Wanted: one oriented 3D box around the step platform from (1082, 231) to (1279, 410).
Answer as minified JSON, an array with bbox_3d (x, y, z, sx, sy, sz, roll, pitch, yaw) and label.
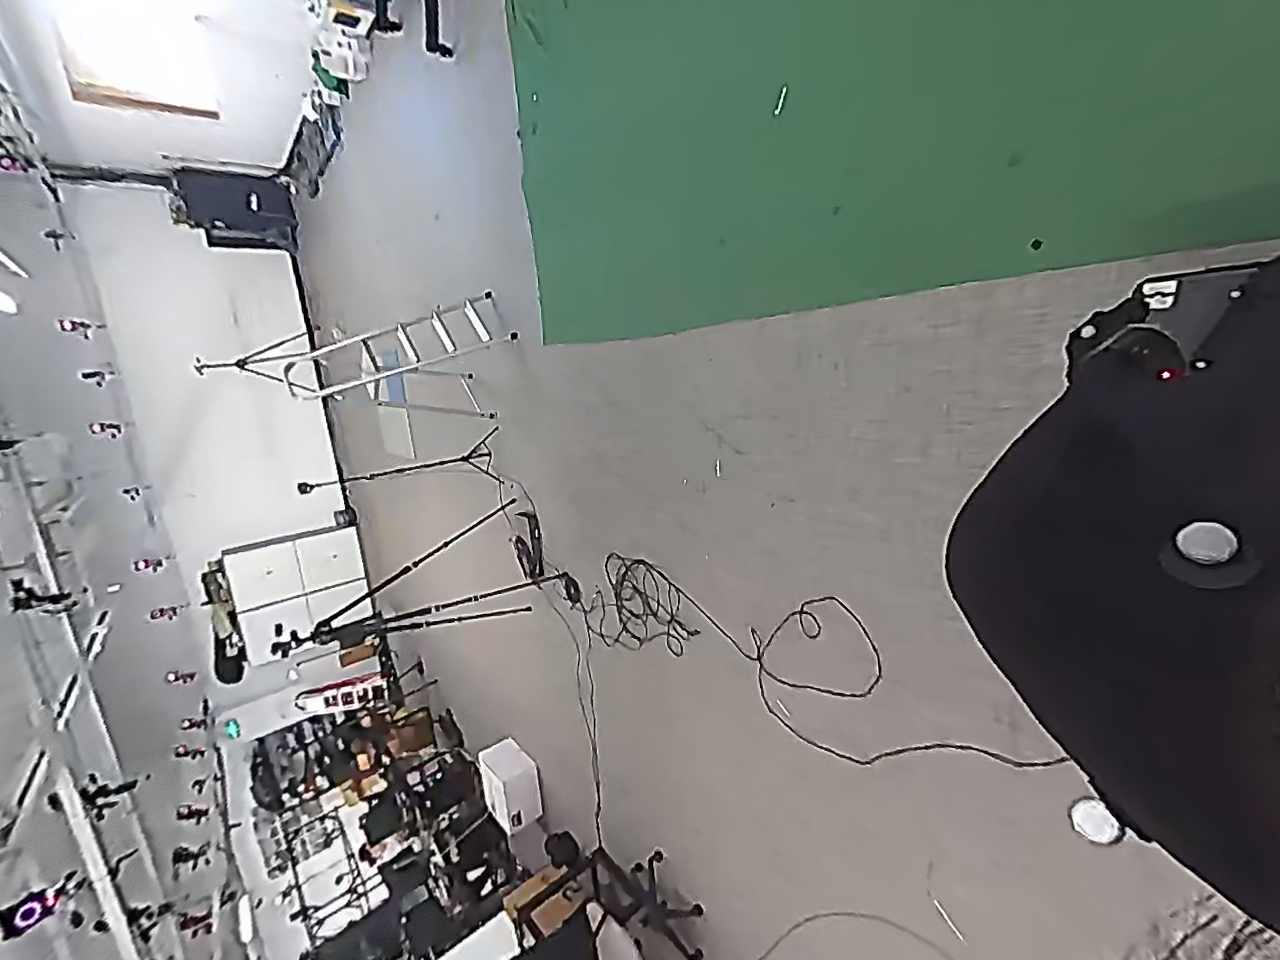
[{"bbox_3d":[1.130,-0.264,0.824,0.684,0.204,0.286,9,109,51],"label":"step platform"}]
